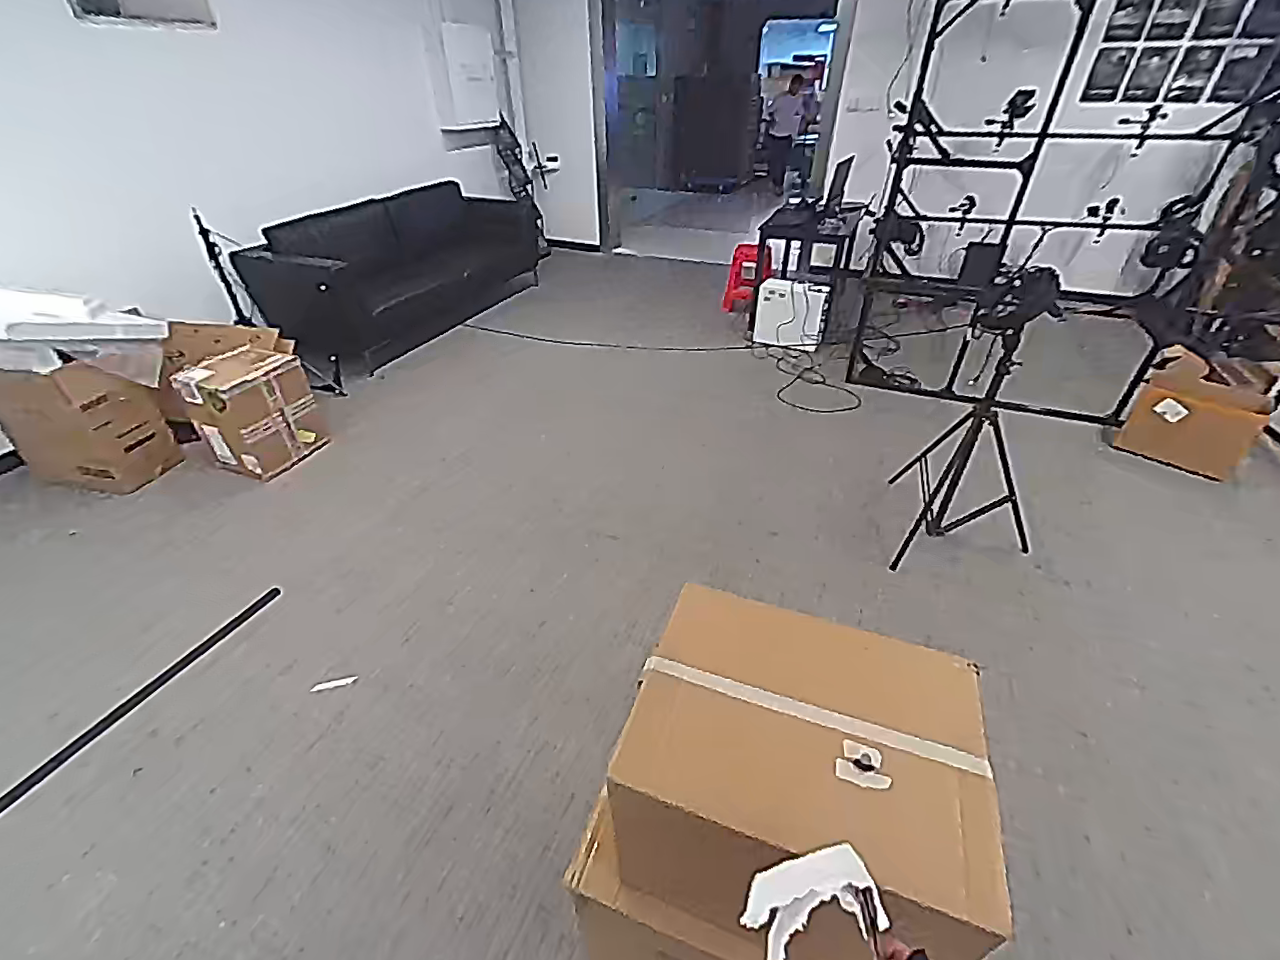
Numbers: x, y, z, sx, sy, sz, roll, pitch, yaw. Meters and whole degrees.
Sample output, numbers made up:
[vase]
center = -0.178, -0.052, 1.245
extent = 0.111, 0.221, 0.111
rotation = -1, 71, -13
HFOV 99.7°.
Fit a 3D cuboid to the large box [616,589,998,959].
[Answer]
[large box]
center = 0.204, 0.412, 0.766
extent = 0.408, 0.320, 0.320
rotation = 13, 39, 16
